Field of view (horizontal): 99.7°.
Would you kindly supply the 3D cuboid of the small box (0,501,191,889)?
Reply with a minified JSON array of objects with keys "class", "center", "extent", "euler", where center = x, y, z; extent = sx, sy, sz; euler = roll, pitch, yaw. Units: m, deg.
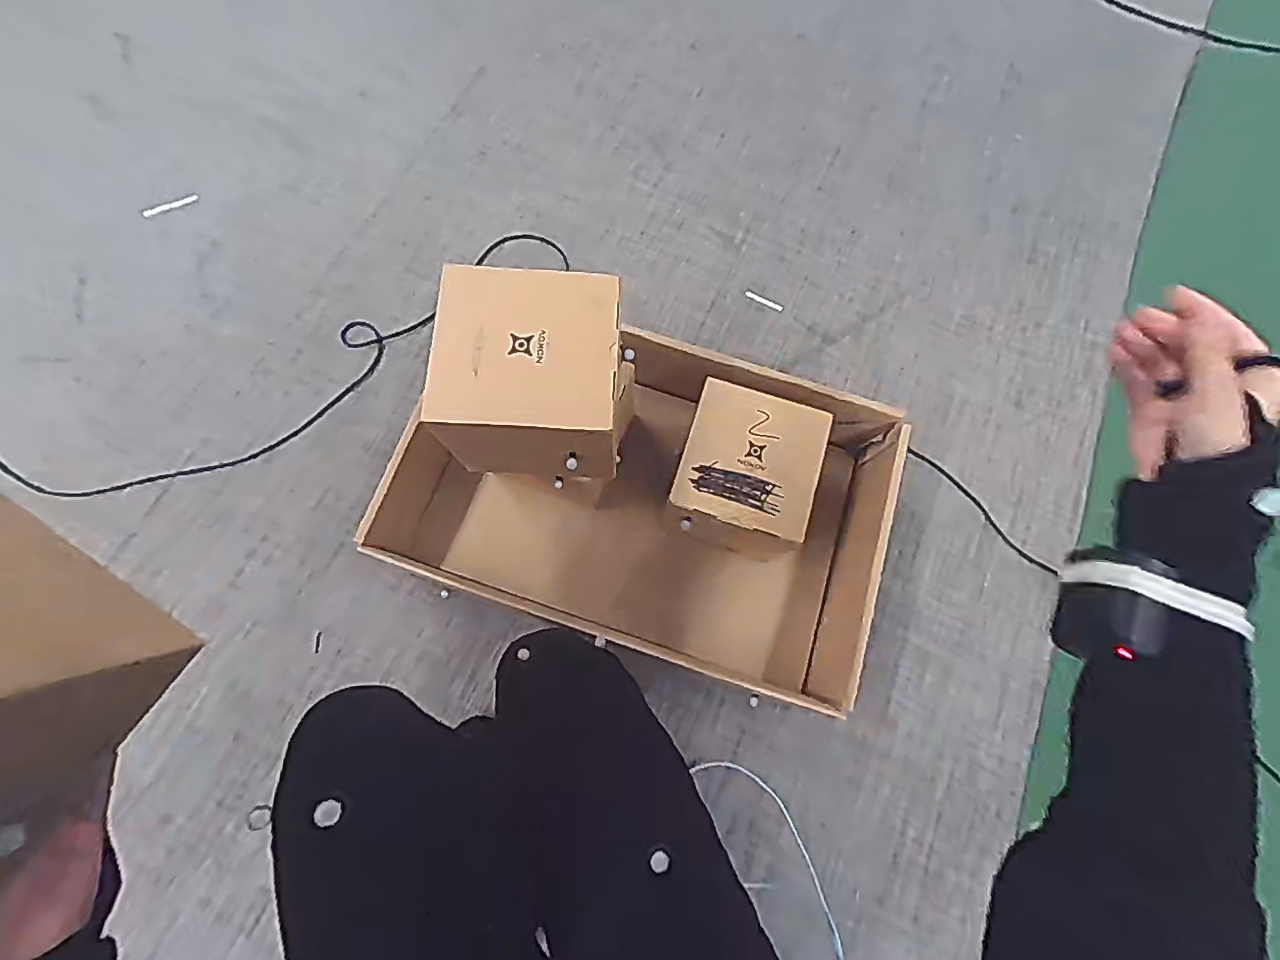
[{"class":"small box","center":[-0.353,0.099,0.212],"extent":[0.179,0.176,0.168],"euler":[37,82,-1]}]

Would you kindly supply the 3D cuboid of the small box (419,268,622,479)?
[{"class":"small box","center":[-0.112,-0.102,0.586],"extent":[0.179,0.176,0.168],"euler":[3,75,-1]}]

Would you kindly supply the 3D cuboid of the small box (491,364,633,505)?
[{"class":"small box","center":[-0.123,-0.078,0.747],"extent":[0.179,0.176,0.168],"euler":[20,75,1]}]
